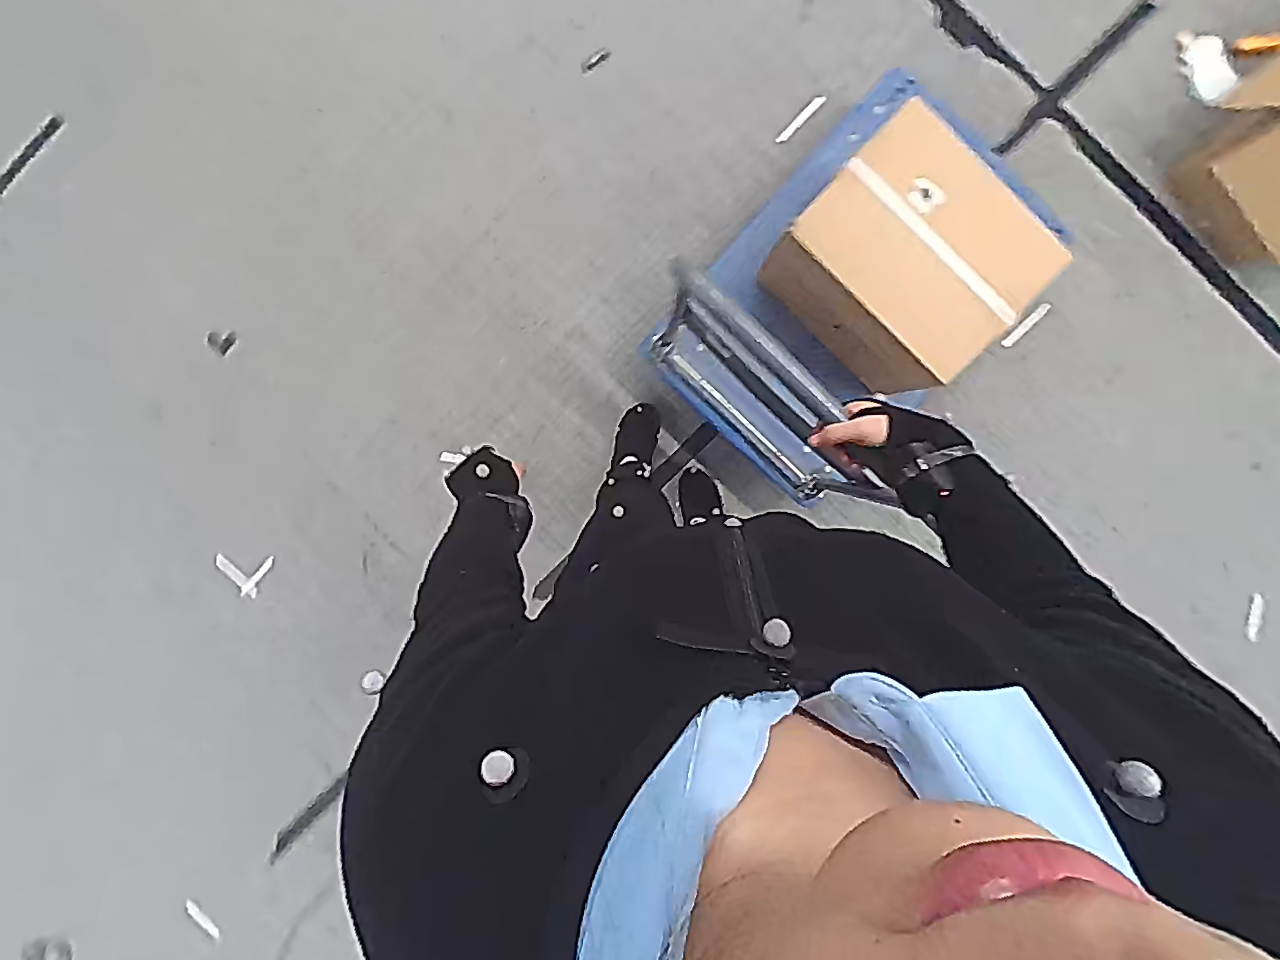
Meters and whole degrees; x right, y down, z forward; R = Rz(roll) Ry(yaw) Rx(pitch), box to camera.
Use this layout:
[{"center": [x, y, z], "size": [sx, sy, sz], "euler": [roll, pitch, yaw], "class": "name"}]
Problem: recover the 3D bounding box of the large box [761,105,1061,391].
[{"center": [0.521, -0.440, 1.130], "size": [0.408, 0.320, 0.320], "euler": [44, 94, -1], "class": "large box"}]
